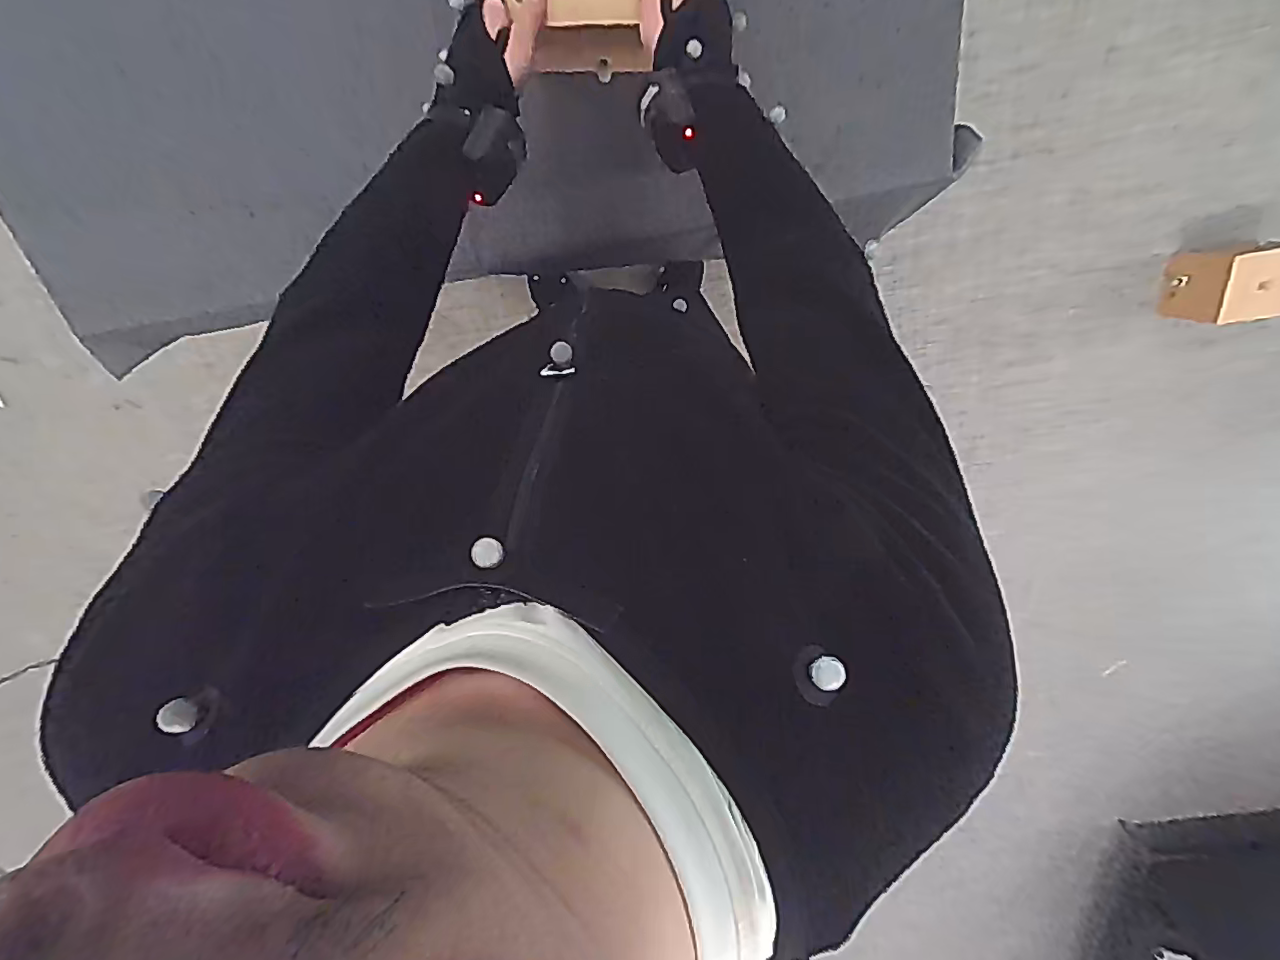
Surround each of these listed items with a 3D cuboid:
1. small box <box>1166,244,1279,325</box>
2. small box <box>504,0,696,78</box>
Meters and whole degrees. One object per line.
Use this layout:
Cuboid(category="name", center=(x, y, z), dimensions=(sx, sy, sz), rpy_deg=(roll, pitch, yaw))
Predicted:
Cuboid(category="small box", center=(1.494, -0.493, 1.351), dimensions=(0.179, 0.176, 0.168), rpy_deg=(-7, 114, 3))
Cuboid(category="small box", center=(-0.038, -0.518, 0.534), dimensions=(0.179, 0.176, 0.168), rpy_deg=(-1, 116, -1))
